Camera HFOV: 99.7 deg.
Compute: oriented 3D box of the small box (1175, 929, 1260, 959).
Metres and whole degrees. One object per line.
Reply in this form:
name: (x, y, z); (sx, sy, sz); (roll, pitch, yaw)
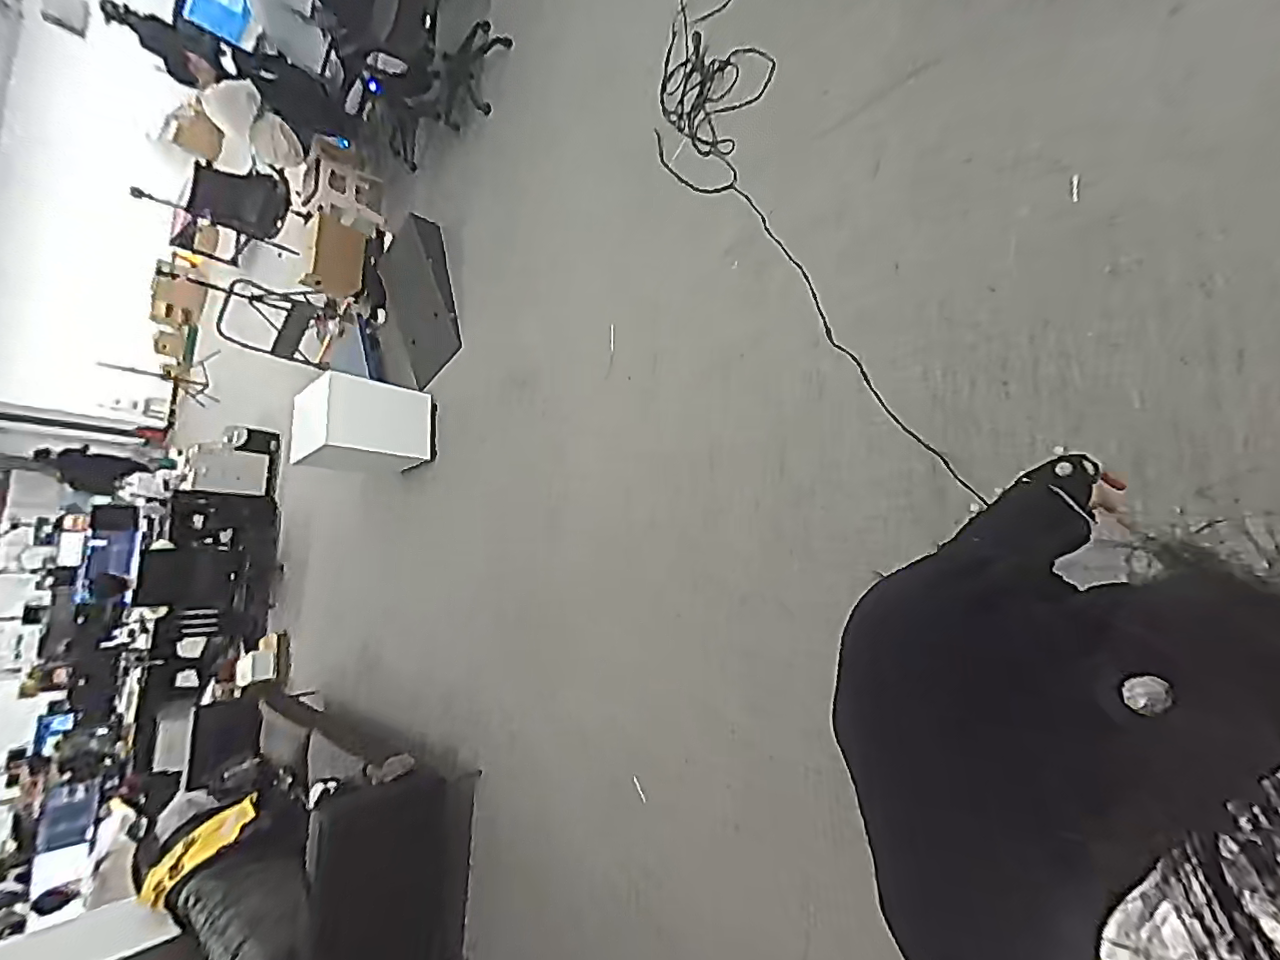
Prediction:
small box: (1.028, 0.933, 0.917); (0.168, 0.176, 0.179); (2, 84, 42)
